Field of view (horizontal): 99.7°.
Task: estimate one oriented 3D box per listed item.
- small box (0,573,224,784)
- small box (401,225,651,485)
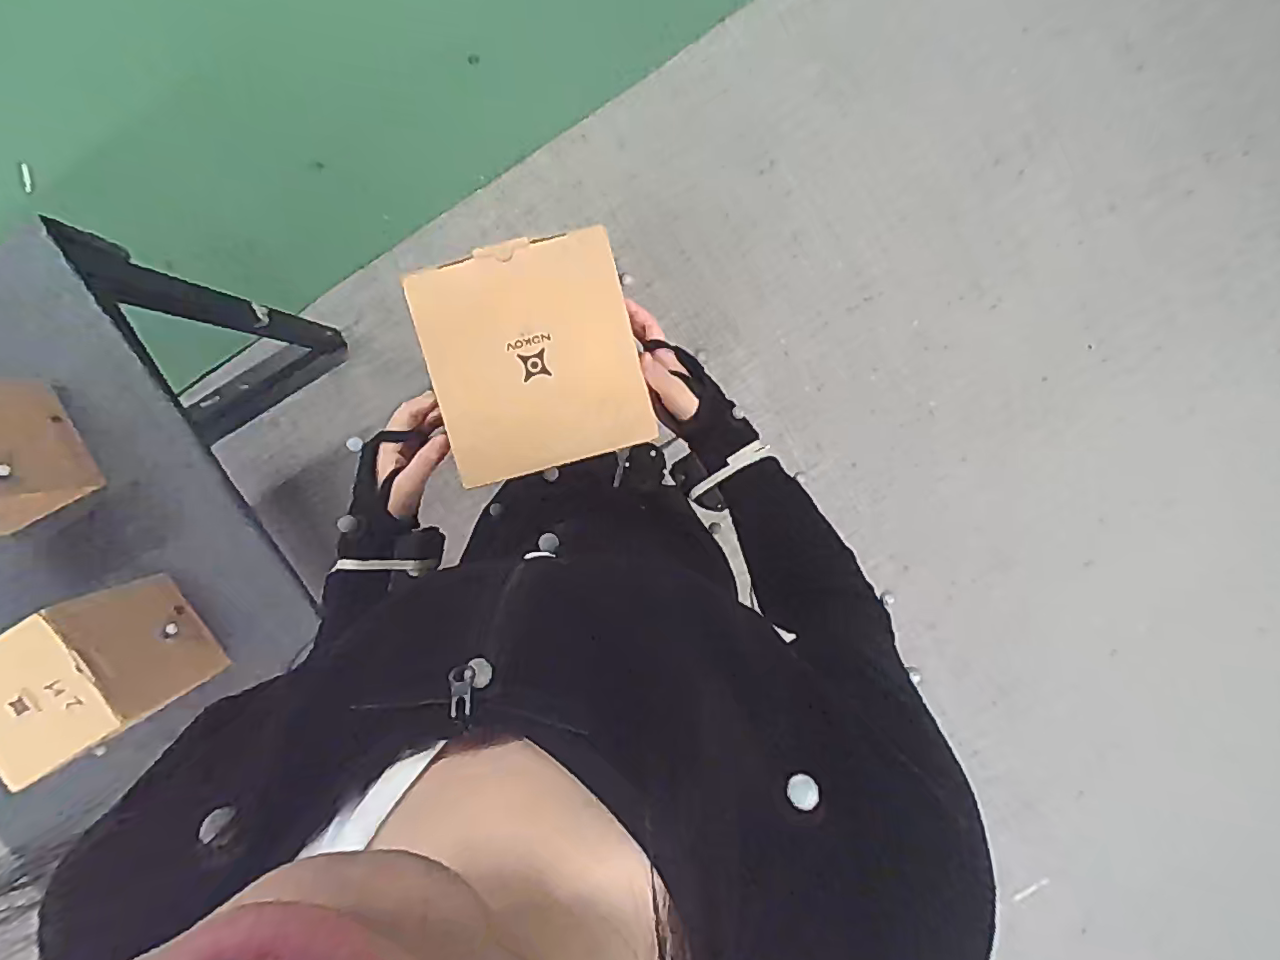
[{"bbox_3d":[-0.727,0.251,0.725,0.179,0.176,0.168,-31,94,4],"label":"small box"},{"bbox_3d":[-0.090,-0.106,0.510,0.168,0.176,0.179,-15,95,-1],"label":"small box"}]
